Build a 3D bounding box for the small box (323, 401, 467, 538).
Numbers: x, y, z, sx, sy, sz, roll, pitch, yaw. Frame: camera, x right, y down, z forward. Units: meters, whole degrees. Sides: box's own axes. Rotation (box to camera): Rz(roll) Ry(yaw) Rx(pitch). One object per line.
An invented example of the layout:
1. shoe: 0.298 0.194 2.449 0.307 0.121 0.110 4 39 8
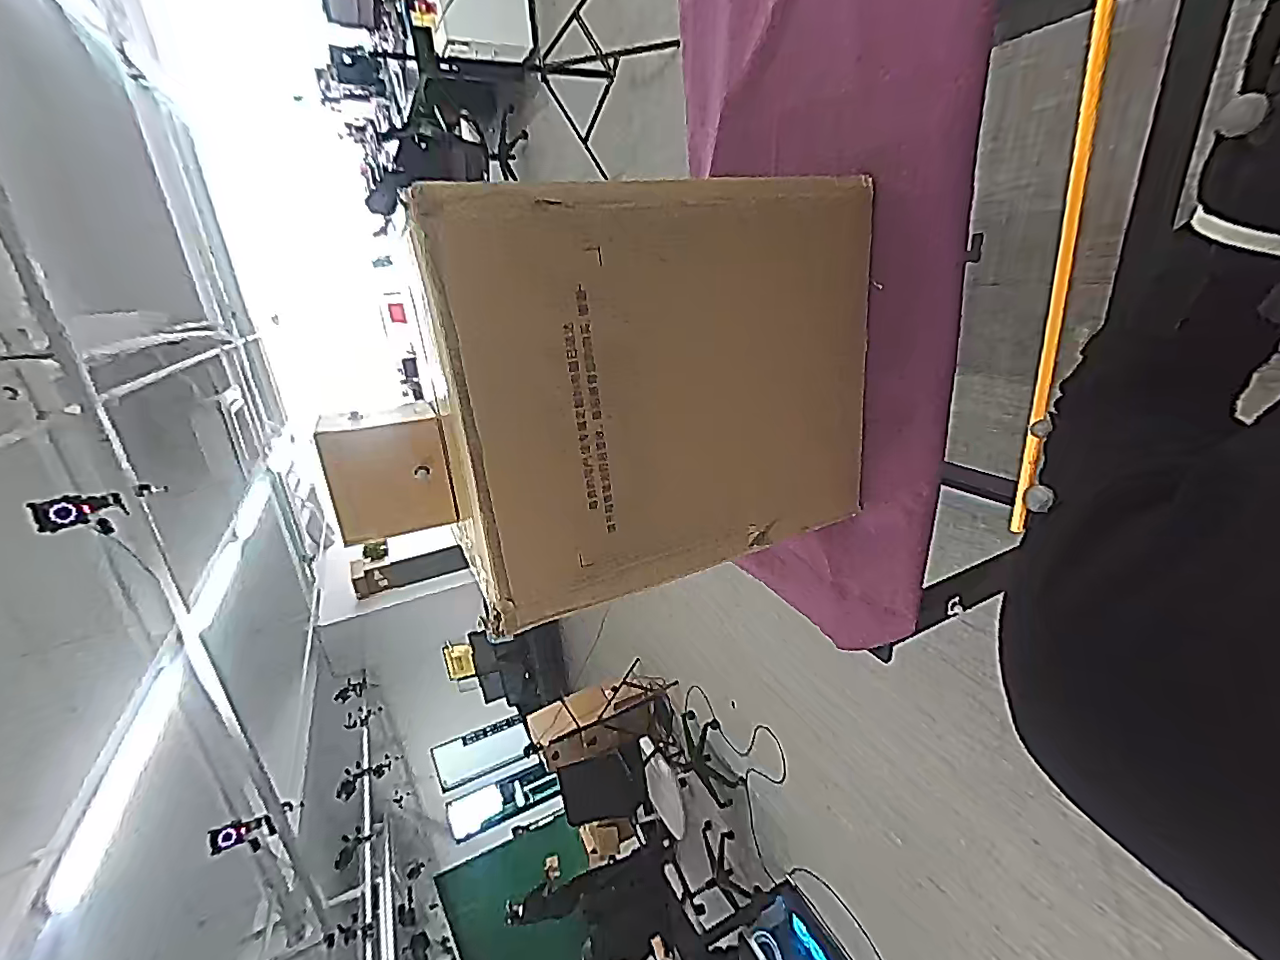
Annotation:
1. small box: -0.388 -0.019 0.866 0.168 0.176 0.179 33 132 59
